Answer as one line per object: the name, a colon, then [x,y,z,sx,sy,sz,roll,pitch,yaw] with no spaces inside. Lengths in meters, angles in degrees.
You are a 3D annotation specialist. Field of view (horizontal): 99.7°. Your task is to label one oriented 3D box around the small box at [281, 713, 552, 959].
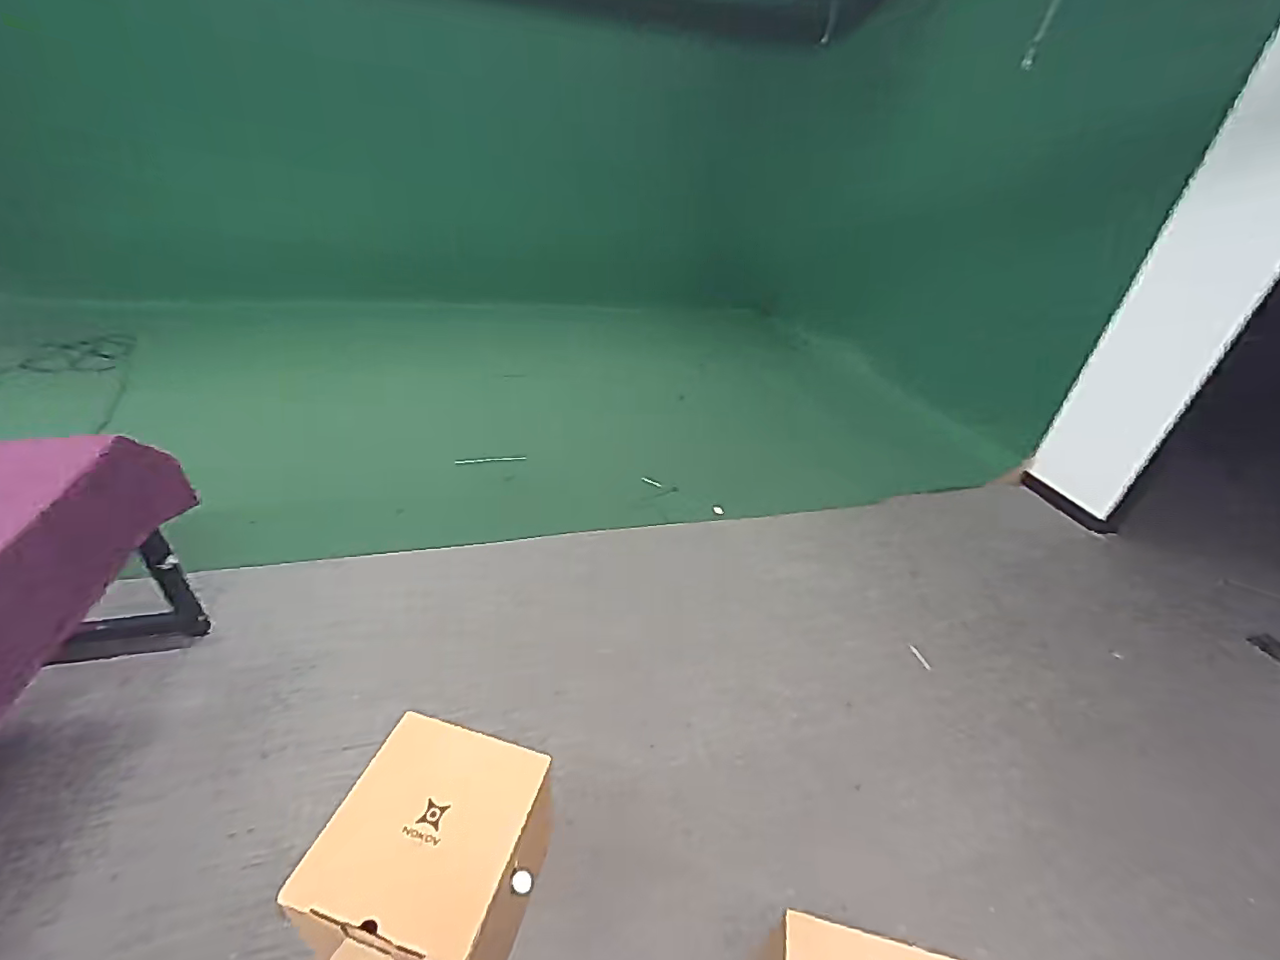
small box: [-0.197,0.373,0.528,0.168,0.176,0.179,13,35,10]
